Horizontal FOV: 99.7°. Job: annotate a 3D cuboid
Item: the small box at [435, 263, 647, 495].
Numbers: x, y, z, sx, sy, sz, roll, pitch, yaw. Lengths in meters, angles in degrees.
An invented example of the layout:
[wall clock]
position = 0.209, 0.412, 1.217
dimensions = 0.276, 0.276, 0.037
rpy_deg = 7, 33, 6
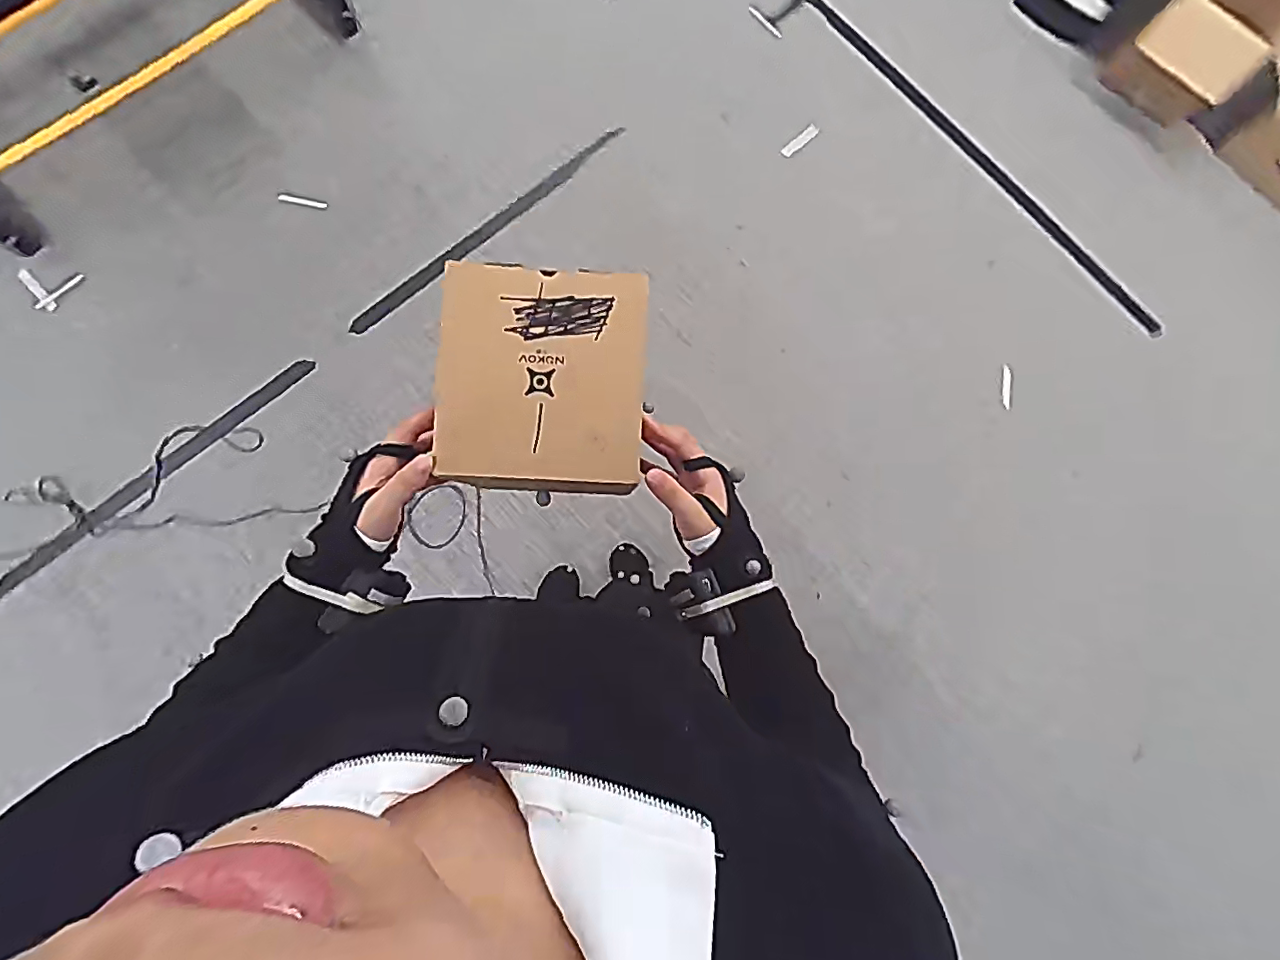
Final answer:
[small box]
position = -0.083, -0.081, 0.516
dimensions = 0.168, 0.176, 0.179
rpy_deg = 1, 85, -3
